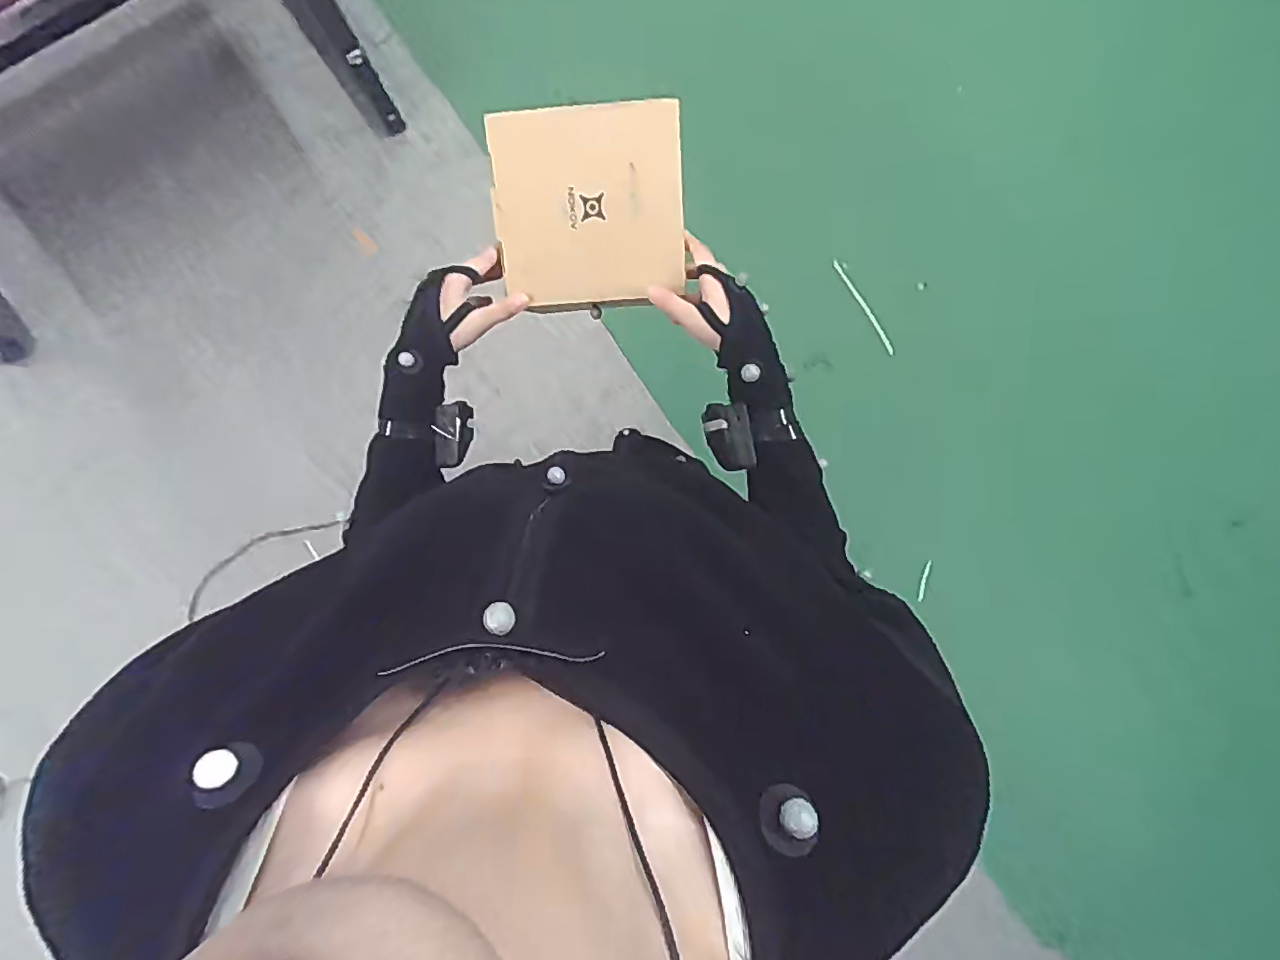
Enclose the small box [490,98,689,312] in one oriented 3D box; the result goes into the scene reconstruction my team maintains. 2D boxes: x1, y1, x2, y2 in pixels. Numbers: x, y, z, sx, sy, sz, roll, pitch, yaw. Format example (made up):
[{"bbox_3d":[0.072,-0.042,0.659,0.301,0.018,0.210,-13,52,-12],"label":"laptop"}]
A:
[{"bbox_3d":[-0.040,-0.273,0.577,0.179,0.176,0.168,-4,105,3],"label":"small box"}]
